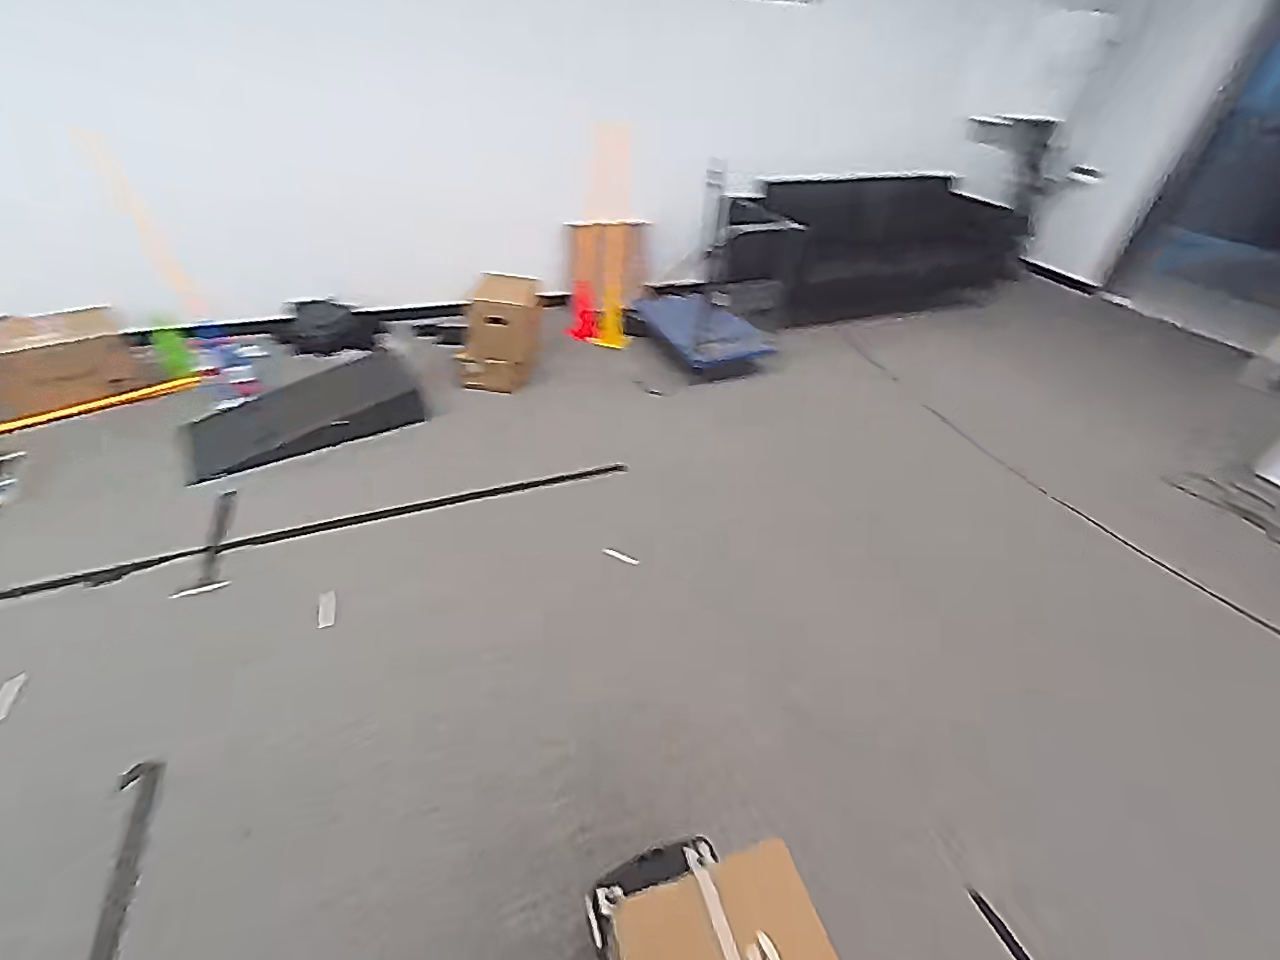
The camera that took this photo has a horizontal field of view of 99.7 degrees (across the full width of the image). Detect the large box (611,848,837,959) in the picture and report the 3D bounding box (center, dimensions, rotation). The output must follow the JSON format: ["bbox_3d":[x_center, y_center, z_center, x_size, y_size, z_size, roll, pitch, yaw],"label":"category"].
[{"bbox_3d":[0.156,0.881,0.818,0.320,0.320,0.408,-8,39,-16],"label":"large box"}]

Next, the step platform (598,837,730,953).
[{"bbox_3d":[0.124,1.057,0.978,0.286,0.204,0.684,-7,39,-14],"label":"step platform"}]
